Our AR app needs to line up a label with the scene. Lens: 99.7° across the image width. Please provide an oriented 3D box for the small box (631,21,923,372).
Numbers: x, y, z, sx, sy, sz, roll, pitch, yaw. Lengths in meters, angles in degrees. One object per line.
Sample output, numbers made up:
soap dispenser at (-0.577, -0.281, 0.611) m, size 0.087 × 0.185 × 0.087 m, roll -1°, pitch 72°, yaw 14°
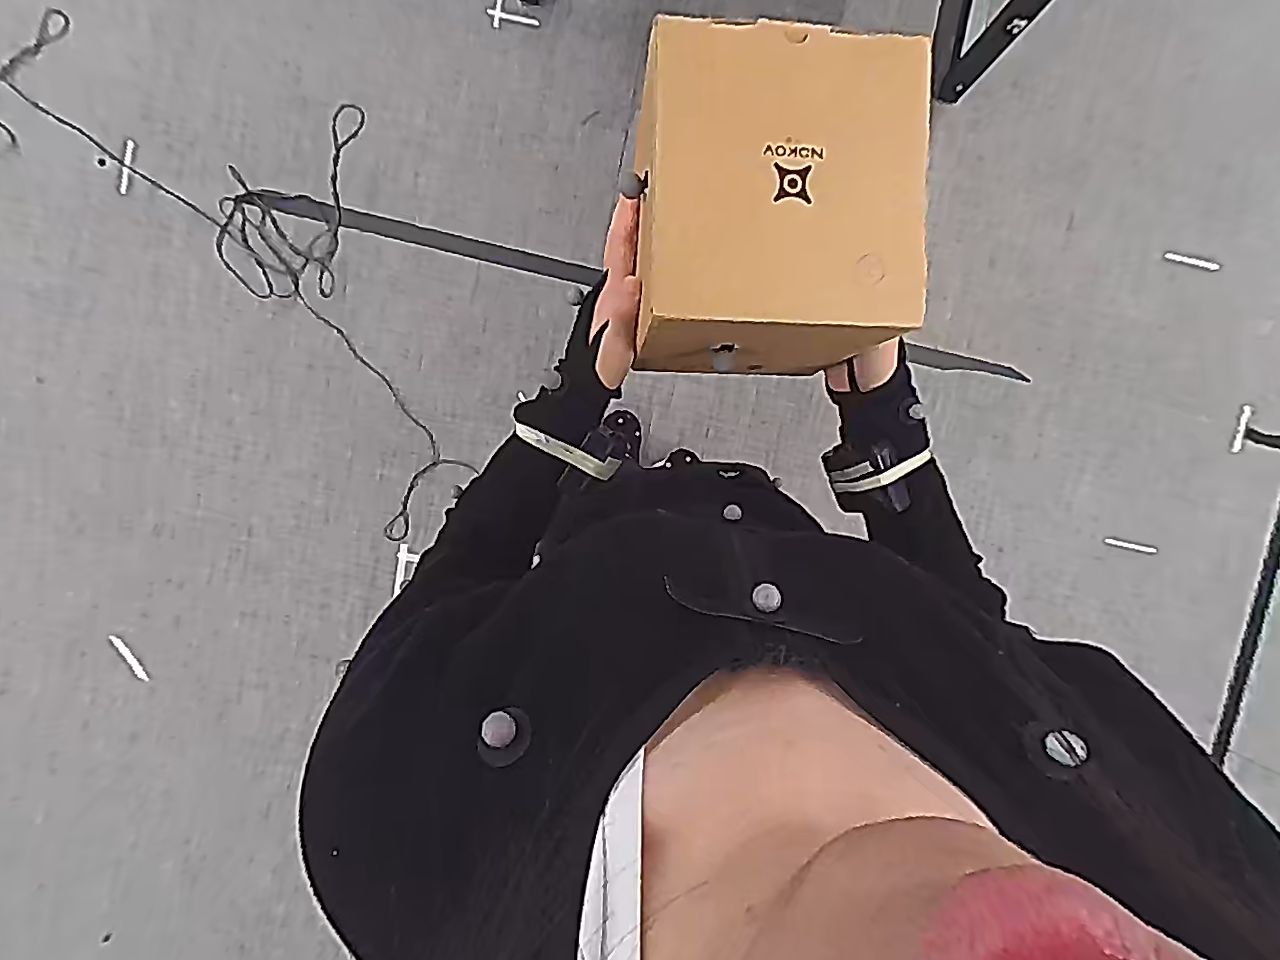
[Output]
small box at (0.082, -0.181, 0.401) m, size 0.168 × 0.176 × 0.179 m, roll 0°, pitch 90°, yaw -5°
